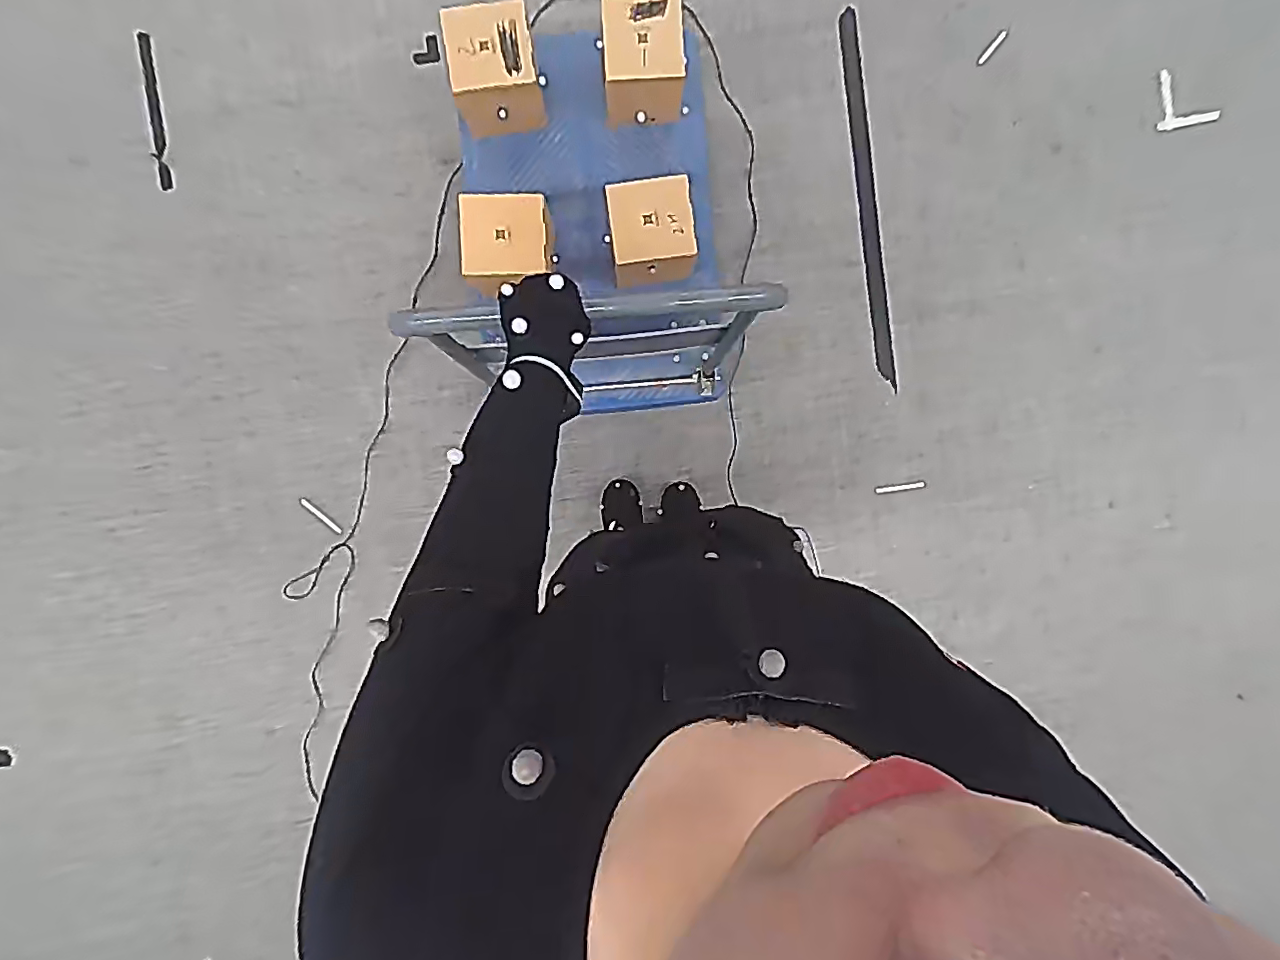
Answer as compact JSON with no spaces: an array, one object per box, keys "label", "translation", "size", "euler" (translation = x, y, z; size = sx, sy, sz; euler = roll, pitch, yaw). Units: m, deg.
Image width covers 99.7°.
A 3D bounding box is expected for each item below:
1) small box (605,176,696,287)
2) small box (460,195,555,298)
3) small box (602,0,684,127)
[{"label":"small box","translation":[0.022,-0.543,1.202],"size":[0.179,0.176,0.168],"euler":[-8,93,-1]},{"label":"small box","translation":[-0.286,-0.509,1.196],"size":[0.179,0.176,0.168],"euler":[-2,93,-3]},{"label":"small box","translation":[0.003,-0.912,1.182],"size":[0.168,0.176,0.179],"euler":[-4,94,-2]}]
